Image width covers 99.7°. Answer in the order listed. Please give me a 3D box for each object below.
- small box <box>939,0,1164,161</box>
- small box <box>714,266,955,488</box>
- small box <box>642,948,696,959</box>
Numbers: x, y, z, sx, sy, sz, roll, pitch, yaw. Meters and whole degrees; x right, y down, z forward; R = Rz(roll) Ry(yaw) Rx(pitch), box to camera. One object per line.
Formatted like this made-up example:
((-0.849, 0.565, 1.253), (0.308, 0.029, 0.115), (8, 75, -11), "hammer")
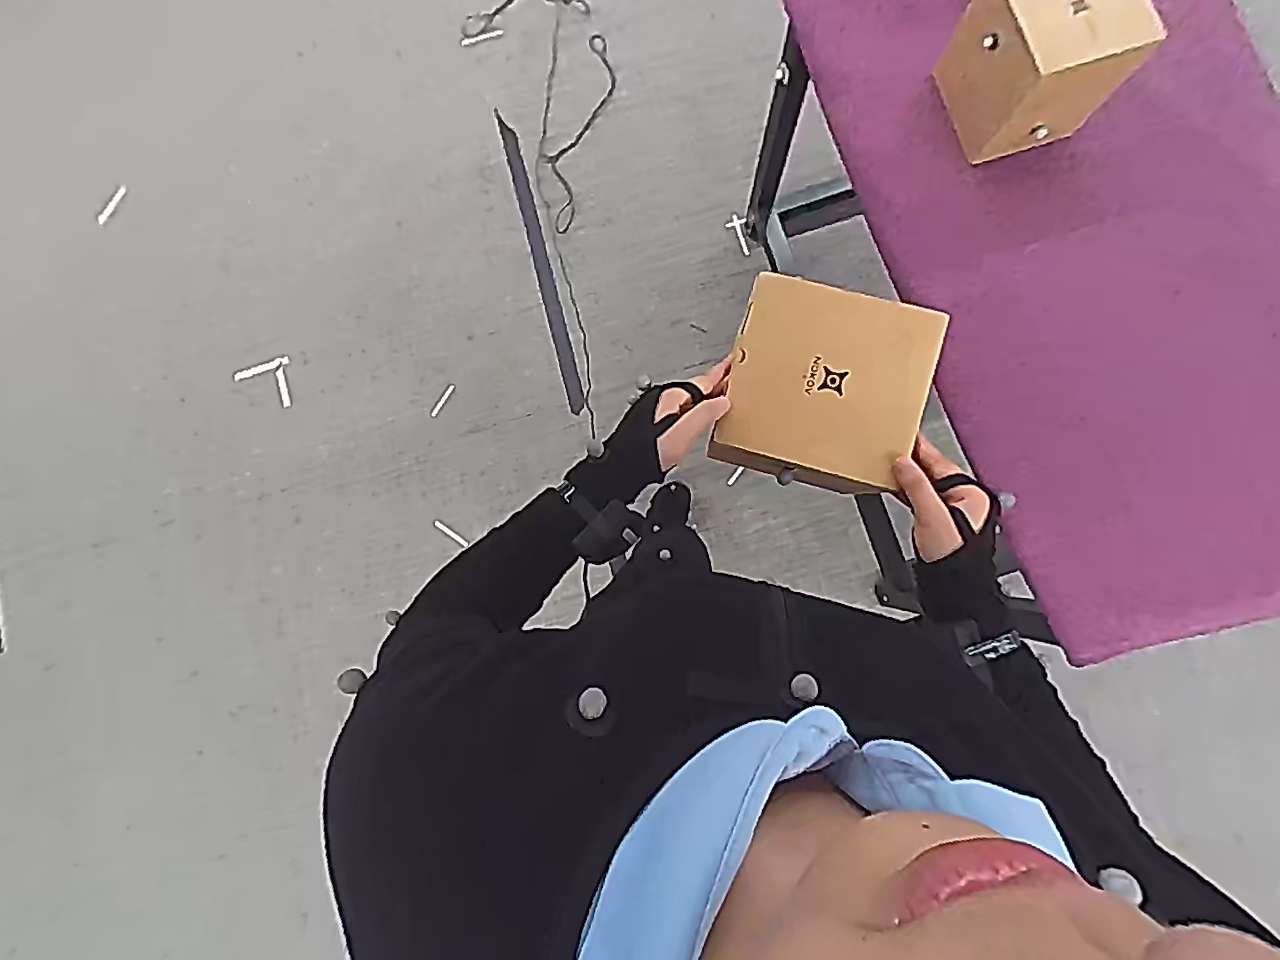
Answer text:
((0.567, -0.607, 0.775), (0.168, 0.176, 0.179), (-16, 83, 1), "small box")
((0.183, -0.094, 0.566), (0.179, 0.176, 0.168), (16, 90, 7), "small box")
((0.072, 1.235, 1.244), (0.168, 0.176, 0.179), (-20, 83, 1), "small box")
